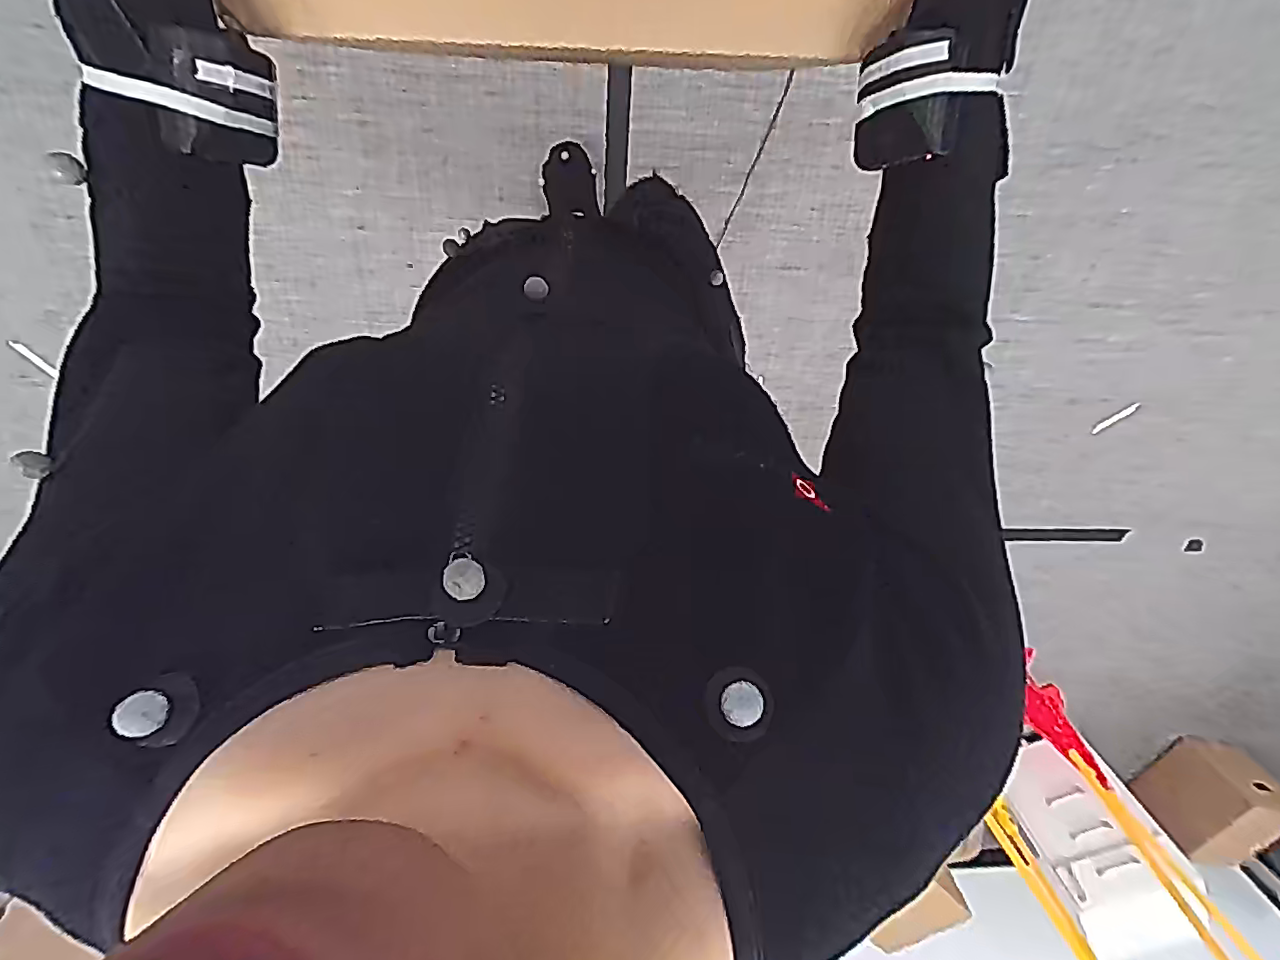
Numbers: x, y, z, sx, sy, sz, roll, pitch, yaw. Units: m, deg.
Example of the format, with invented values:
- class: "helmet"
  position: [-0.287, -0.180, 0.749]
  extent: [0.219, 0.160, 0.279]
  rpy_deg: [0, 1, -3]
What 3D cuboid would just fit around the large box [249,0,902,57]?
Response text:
- class: "large box"
  position: [-0.043, -0.490, 0.365]
  extent: [0.408, 0.320, 0.320]
  rpy_deg: [-1, 127, -3]
